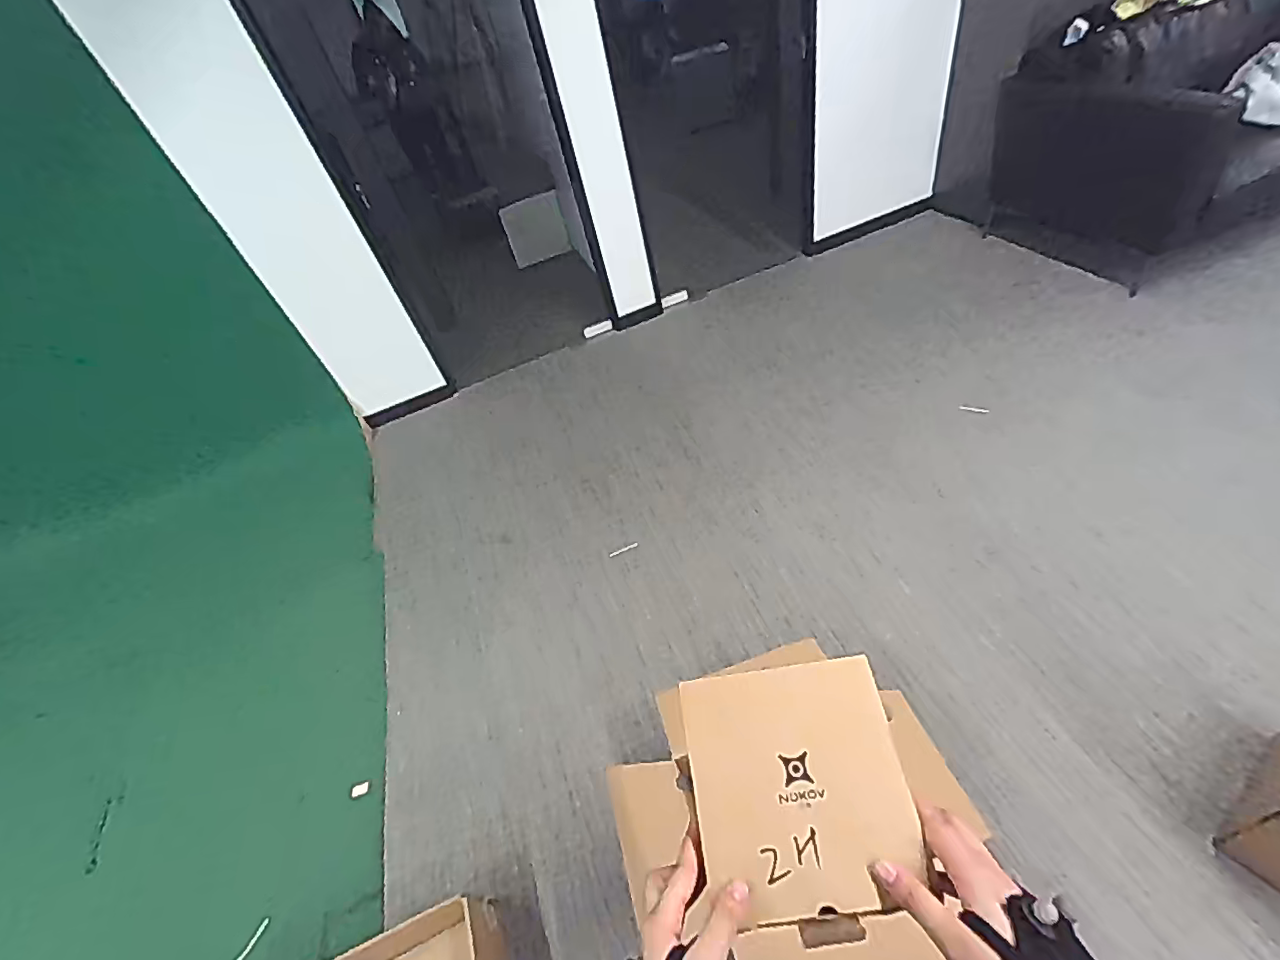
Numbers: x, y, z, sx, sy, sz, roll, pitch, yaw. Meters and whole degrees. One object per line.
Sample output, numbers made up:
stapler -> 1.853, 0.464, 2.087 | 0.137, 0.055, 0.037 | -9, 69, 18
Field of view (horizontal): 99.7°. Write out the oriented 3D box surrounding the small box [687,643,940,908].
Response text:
small box -> 0.139, 0.270, 0.506 | 0.168, 0.176, 0.179 | -10, 60, 3
